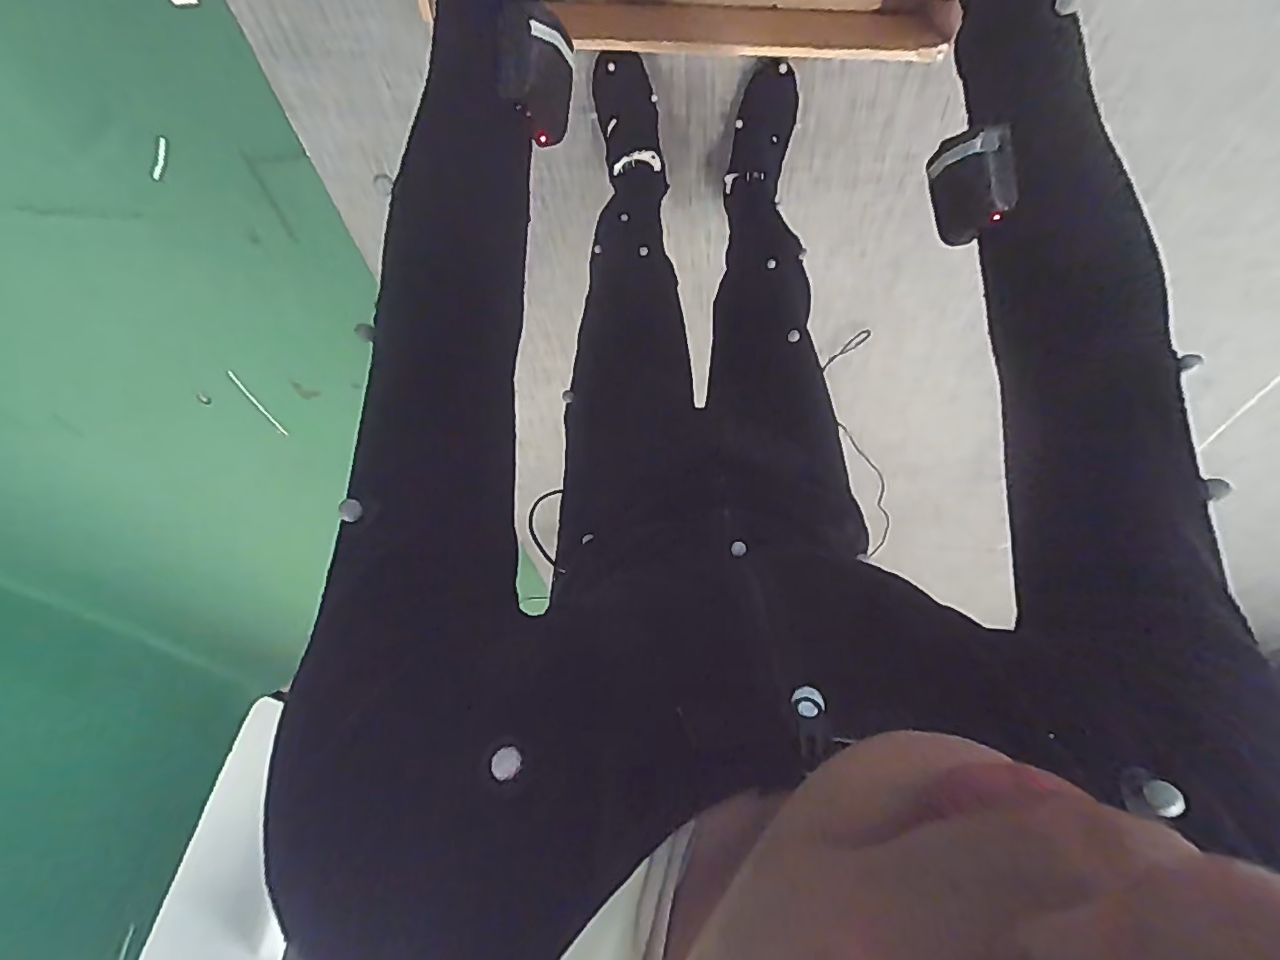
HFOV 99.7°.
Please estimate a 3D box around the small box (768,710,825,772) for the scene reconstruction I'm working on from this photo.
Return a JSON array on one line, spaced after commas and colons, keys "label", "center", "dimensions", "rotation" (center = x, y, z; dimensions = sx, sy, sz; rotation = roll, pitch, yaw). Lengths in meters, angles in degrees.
[{"label": "small box", "center": [0.552, 0.931, 1.925], "dimensions": [0.168, 0.176, 0.179], "rotation": [-2, 143, 7]}]
